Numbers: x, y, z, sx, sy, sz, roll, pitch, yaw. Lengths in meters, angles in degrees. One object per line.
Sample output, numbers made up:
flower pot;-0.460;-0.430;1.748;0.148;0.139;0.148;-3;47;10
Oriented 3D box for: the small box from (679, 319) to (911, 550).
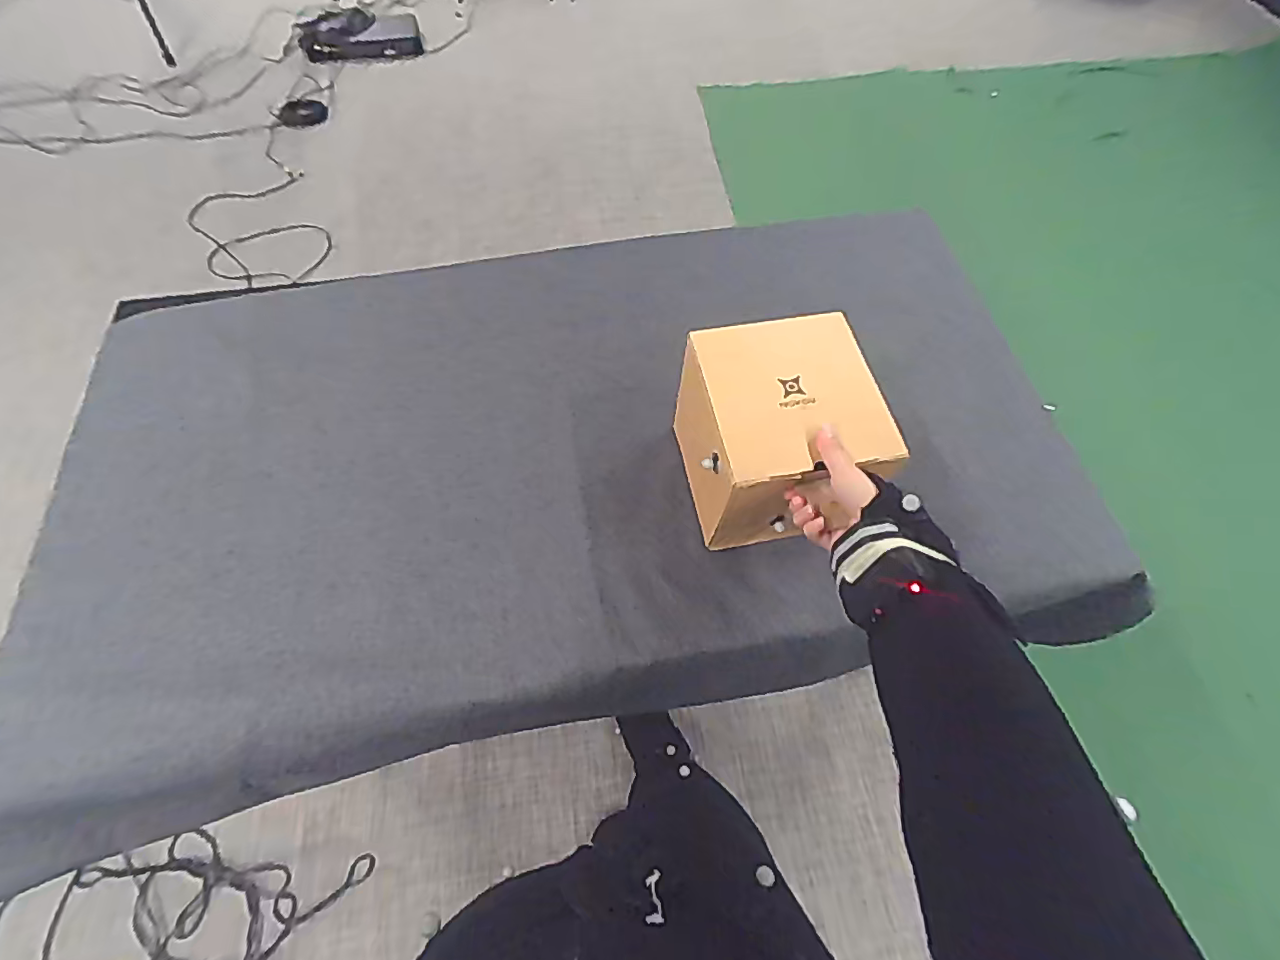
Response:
small box;0.145;-0.044;0.583;0.168;0.176;0.179;-9;64;-7
